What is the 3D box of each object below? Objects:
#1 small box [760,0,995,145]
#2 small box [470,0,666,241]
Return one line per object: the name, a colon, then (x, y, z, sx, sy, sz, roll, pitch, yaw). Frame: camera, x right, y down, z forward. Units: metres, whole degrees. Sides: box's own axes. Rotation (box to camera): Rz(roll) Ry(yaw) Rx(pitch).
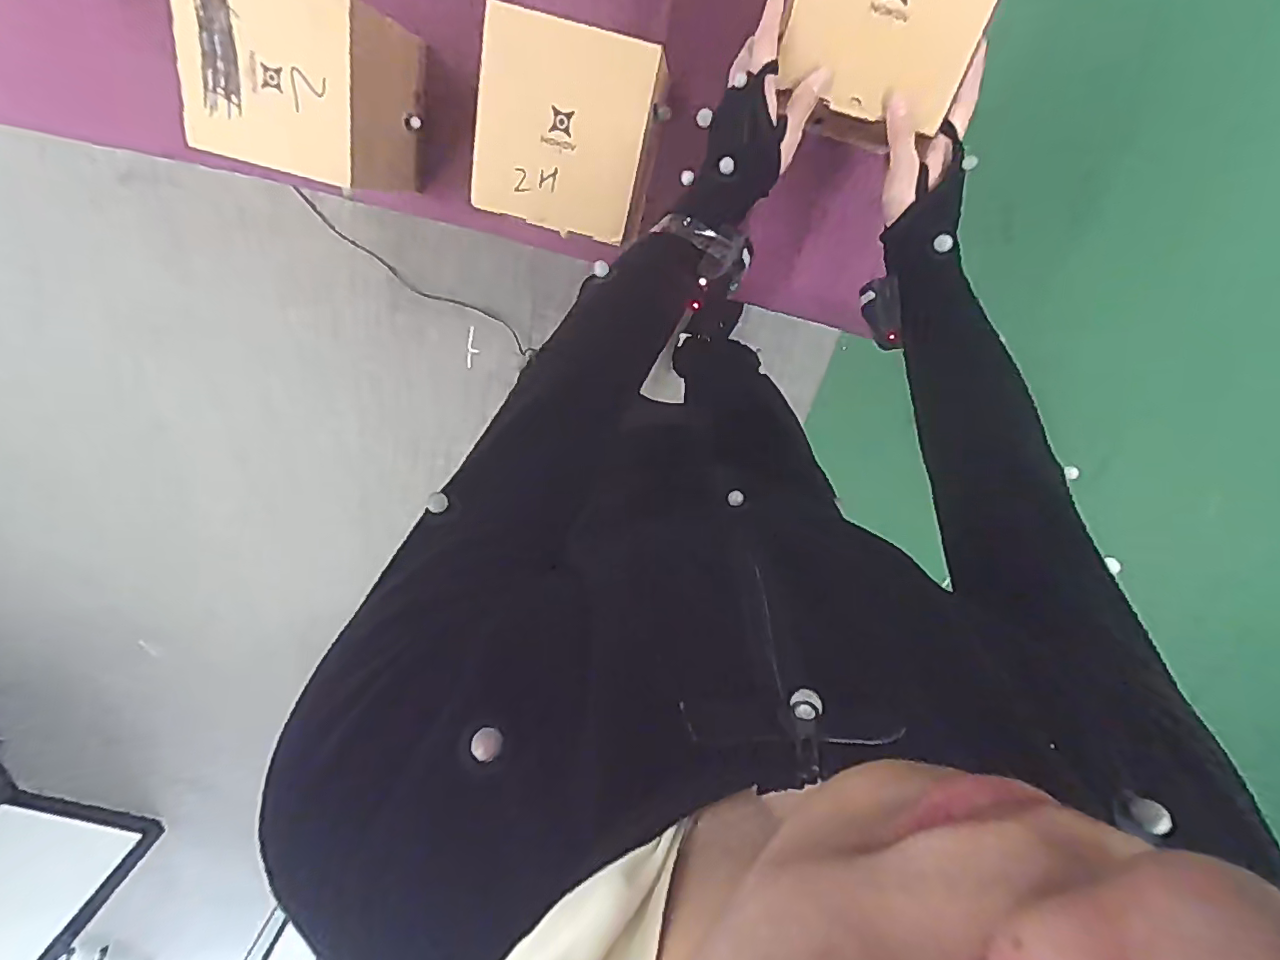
small box: (0.226, -0.454, 0.530, 0.168, 0.176, 0.179, 16, 119, -2)
small box: (-0.071, -0.381, 0.597, 0.168, 0.176, 0.179, 15, 117, -1)
